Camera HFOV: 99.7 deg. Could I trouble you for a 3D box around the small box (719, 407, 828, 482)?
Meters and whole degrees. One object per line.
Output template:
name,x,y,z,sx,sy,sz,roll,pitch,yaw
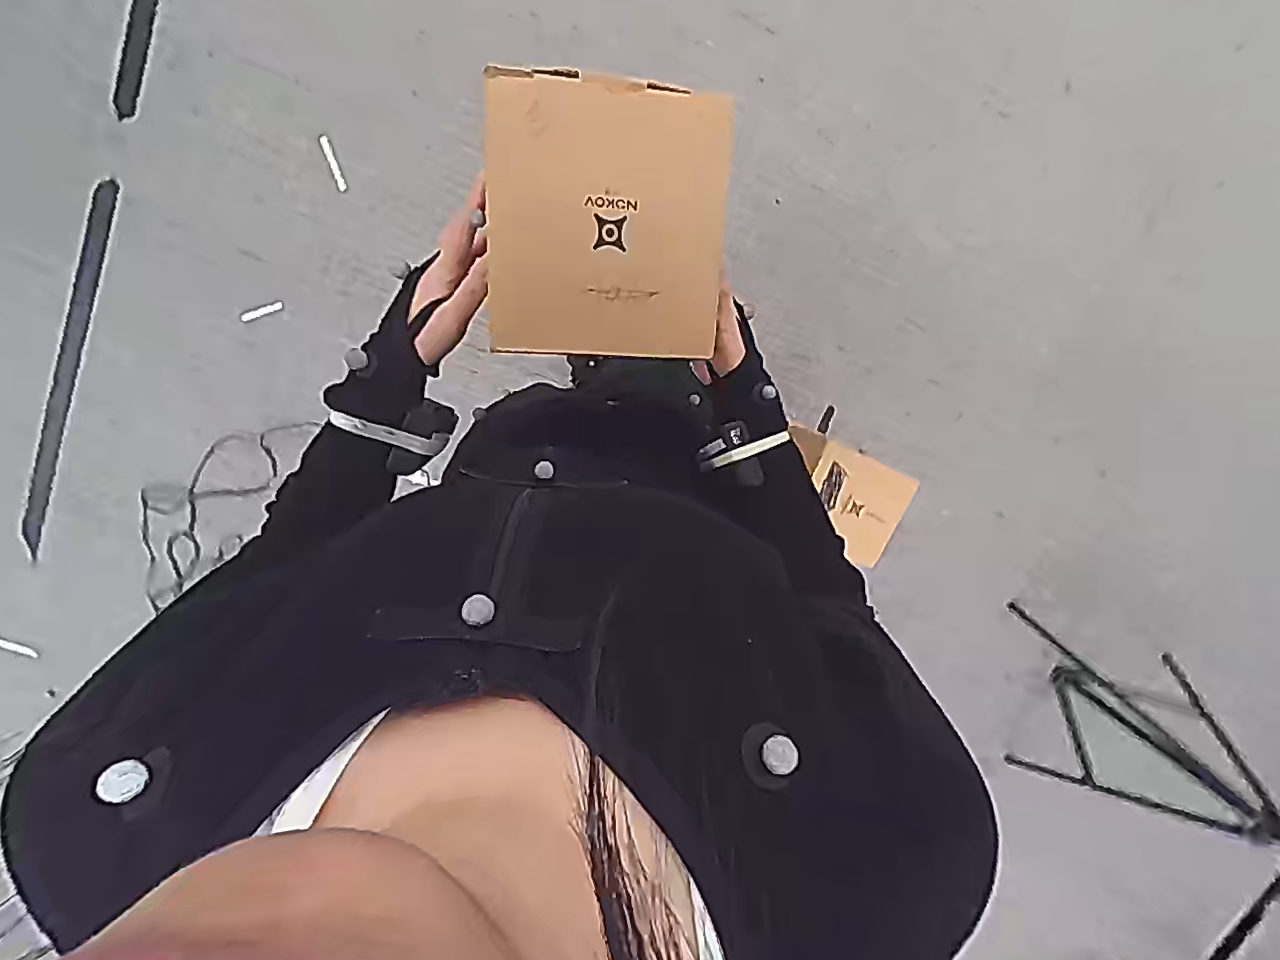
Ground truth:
small box,0.302,-0.057,1.265,0.168,0.176,0.179,25,101,-9

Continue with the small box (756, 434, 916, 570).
small box,0.329,0.029,0.950,0.179,0.176,0.168,23,101,-10

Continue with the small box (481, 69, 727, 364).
small box,-0.039,-0.192,0.445,0.168,0.176,0.179,-1,107,-11

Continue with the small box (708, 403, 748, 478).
small box,0.290,-0.089,1.426,0.168,0.176,0.179,22,101,-9

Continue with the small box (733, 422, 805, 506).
small box,0.313,-0.009,1.109,0.179,0.176,0.168,24,101,-9
